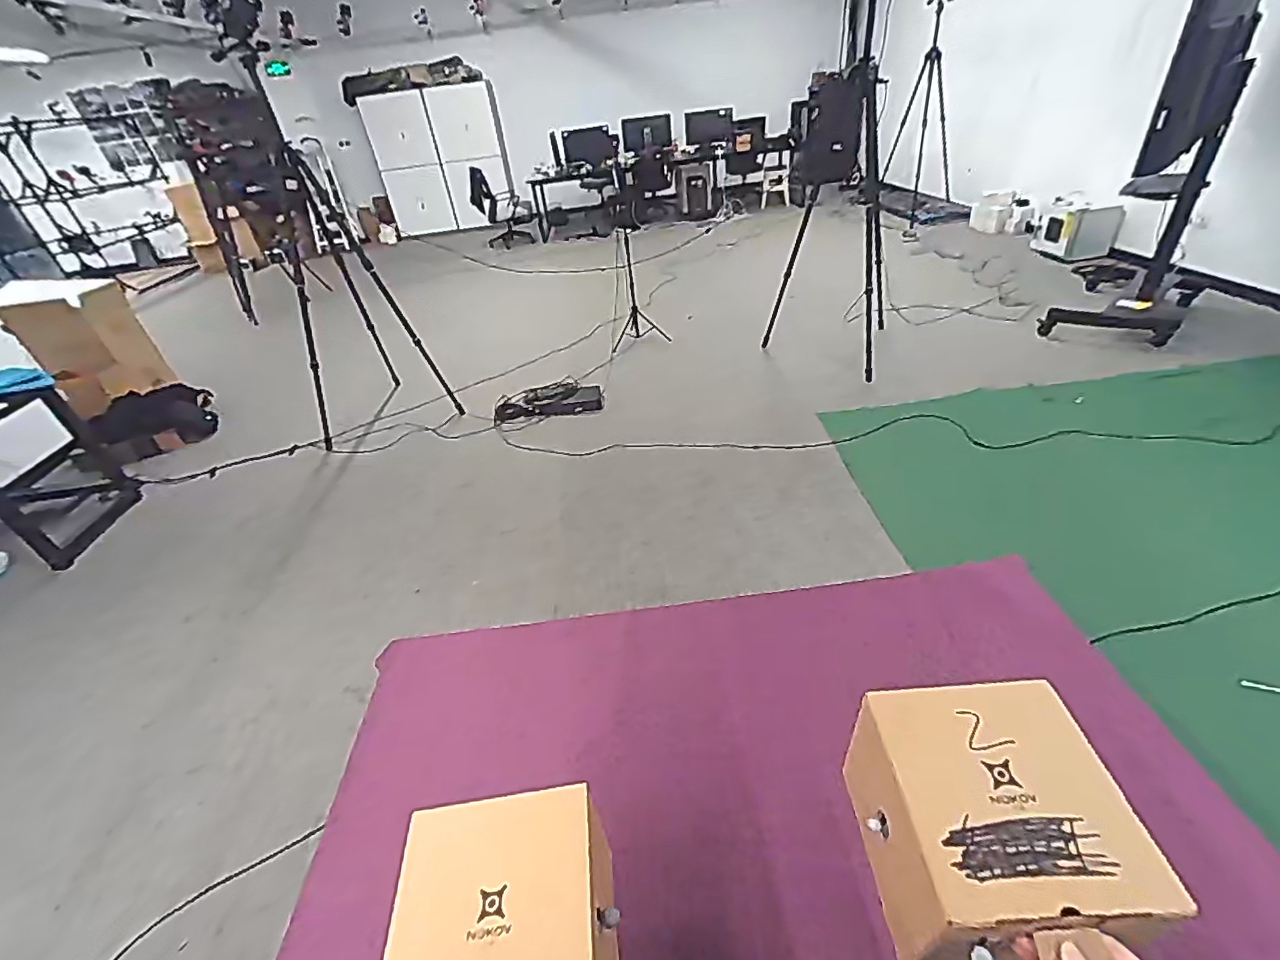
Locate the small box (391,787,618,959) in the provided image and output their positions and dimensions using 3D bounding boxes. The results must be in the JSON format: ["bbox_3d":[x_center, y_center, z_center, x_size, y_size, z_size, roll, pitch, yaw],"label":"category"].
[{"bbox_3d":[-0.113,0.422,0.500,0.168,0.176,0.179,-9,38,-2],"label":"small box"}]
